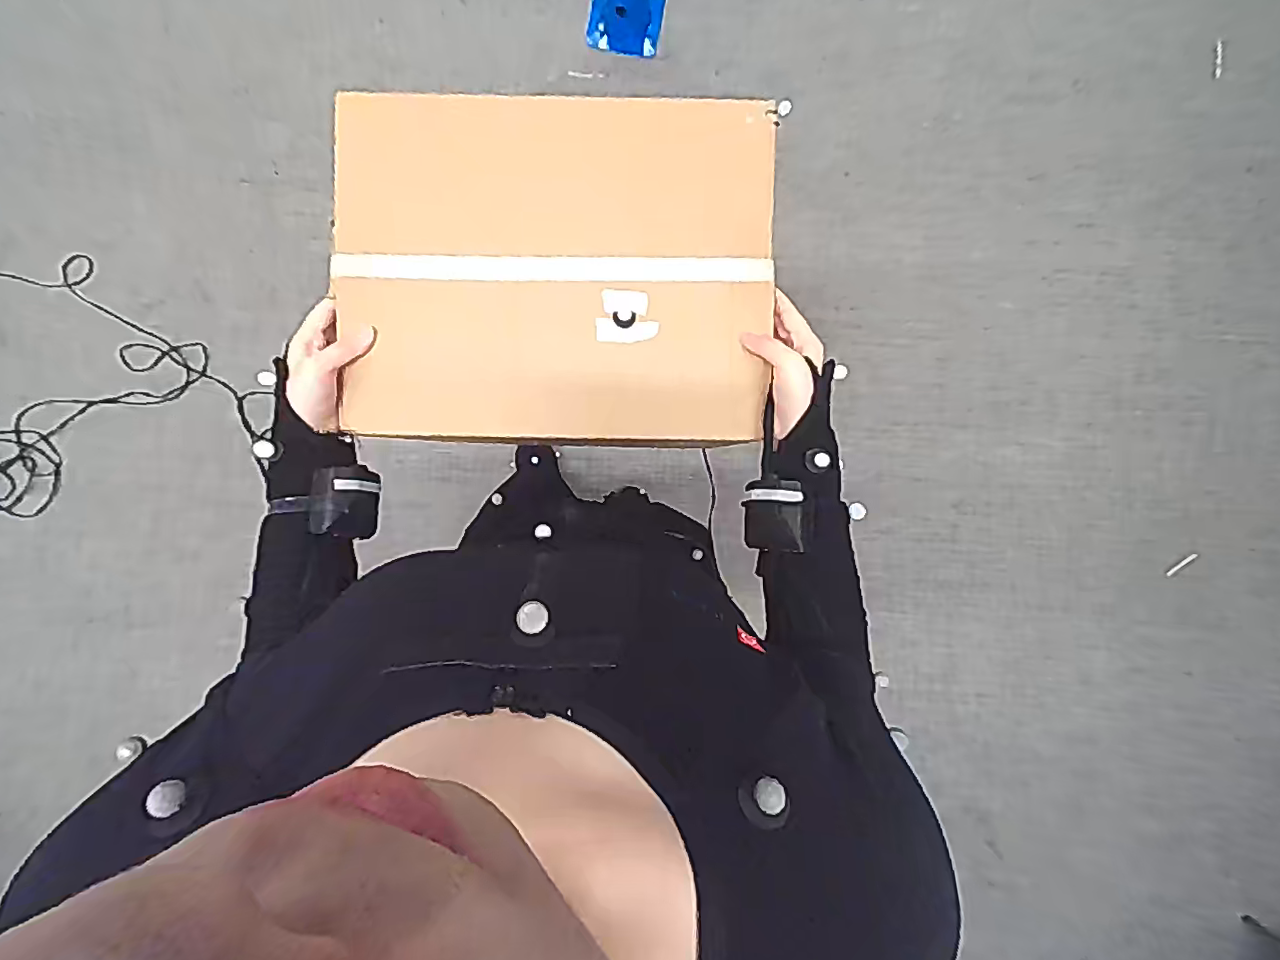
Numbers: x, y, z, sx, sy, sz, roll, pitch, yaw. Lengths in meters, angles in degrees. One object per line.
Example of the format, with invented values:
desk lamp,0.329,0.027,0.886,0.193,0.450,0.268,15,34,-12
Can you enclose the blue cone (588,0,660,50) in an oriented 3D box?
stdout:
blue cone,-0.043,-1.306,1.346,0.193,0.380,0.192,12,89,0

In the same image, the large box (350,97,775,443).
large box,-0.077,-0.206,0.658,0.408,0.320,0.320,1,93,-2
